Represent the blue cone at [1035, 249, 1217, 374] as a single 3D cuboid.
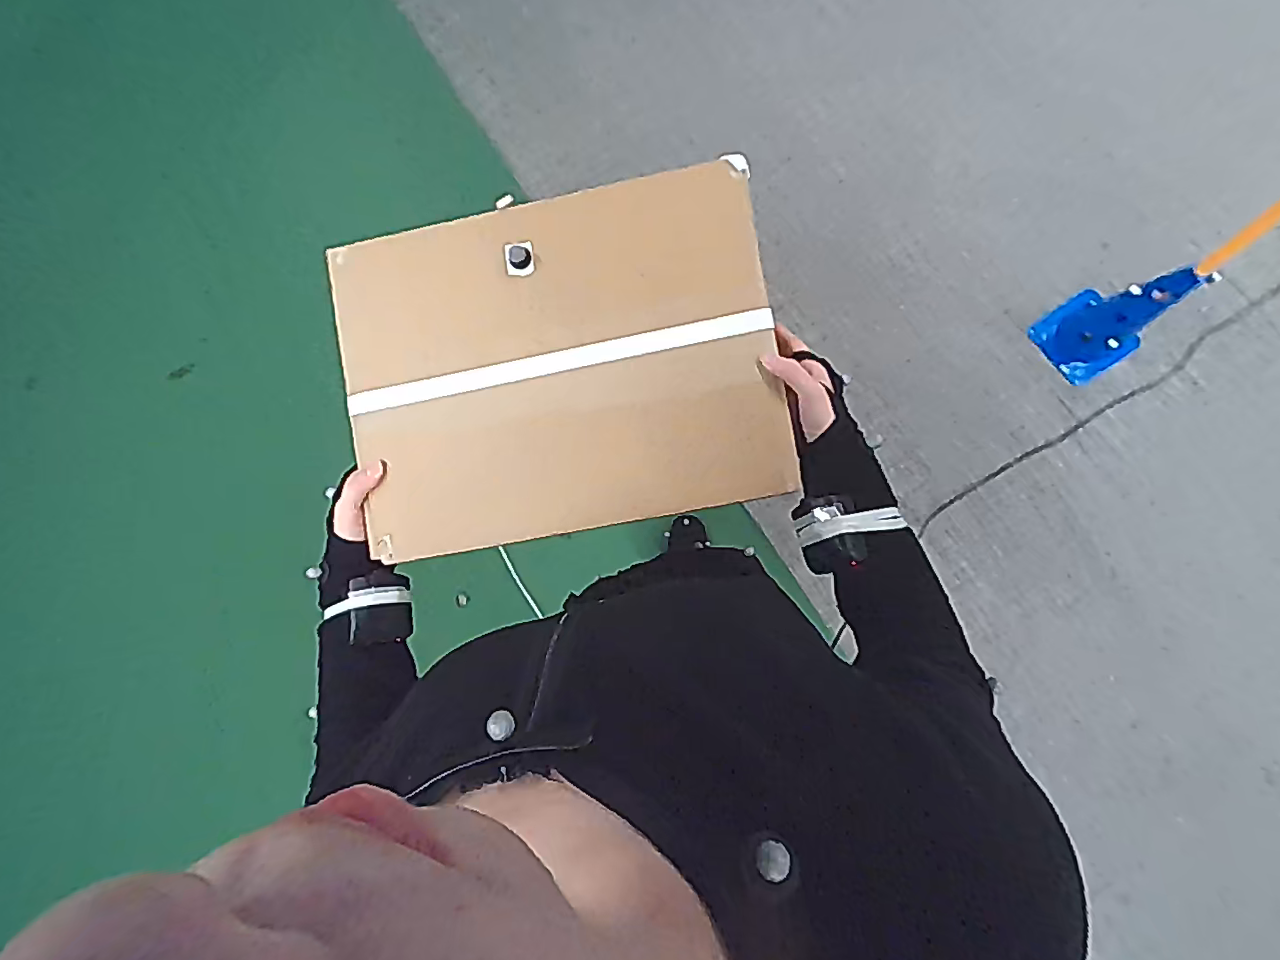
[{"bbox_3d":[1.118,-0.403,1.228,0.192,0.380,0.193,-37,79,3],"label":"blue cone"}]
